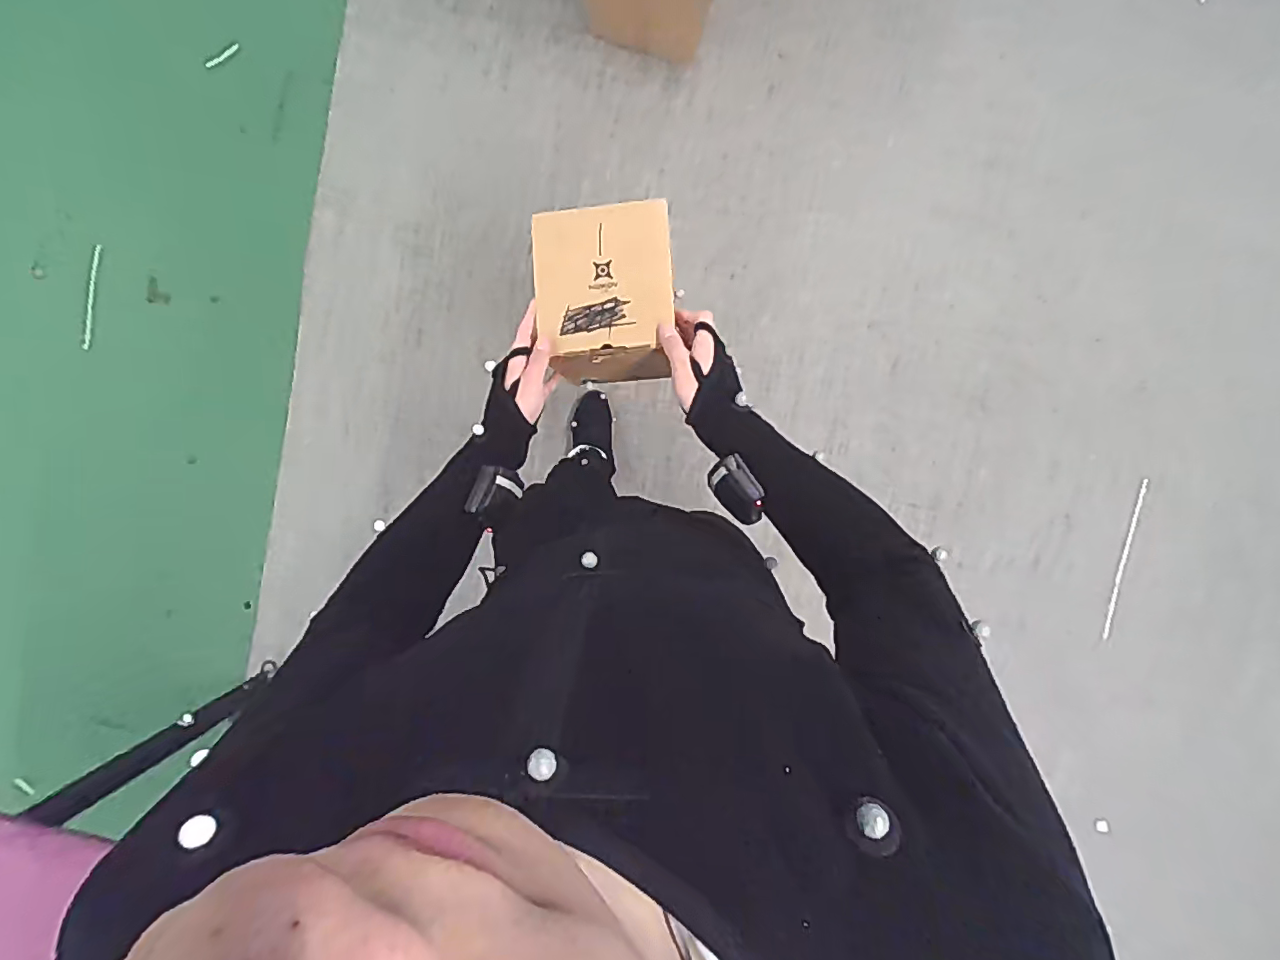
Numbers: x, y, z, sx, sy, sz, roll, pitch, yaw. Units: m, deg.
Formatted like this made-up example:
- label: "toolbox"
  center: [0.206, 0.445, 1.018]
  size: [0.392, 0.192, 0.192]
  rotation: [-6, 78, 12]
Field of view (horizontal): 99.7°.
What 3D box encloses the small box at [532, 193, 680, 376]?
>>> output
- label: "small box"
  center: [-0.036, -0.240, 0.710]
  size: [0.168, 0.176, 0.179]
  rotation: [-3, 87, 6]
